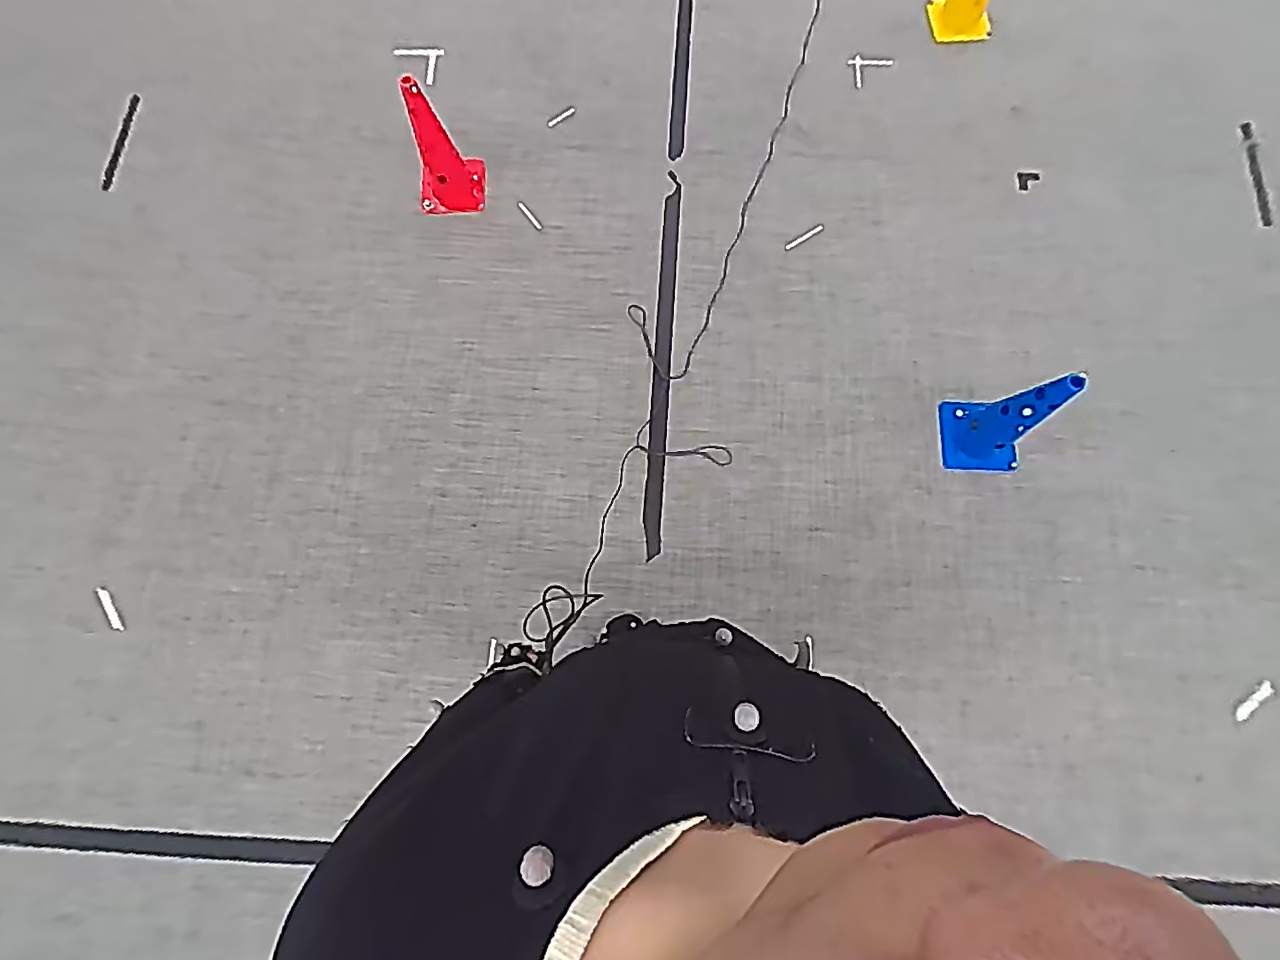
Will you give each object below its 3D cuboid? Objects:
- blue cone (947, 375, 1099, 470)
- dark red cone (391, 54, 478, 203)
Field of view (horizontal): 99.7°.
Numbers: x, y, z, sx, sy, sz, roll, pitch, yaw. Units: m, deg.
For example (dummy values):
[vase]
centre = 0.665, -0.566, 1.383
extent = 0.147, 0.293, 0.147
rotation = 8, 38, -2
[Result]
[blue cone]
centre = 0.942, -0.161, 1.323
extent = 0.192, 0.380, 0.193
rotation = 4, 75, 0
[dark red cone]
centre = -0.602, -0.985, 1.519
extent = 0.201, 0.394, 0.202
rotation = -4, 75, -2
